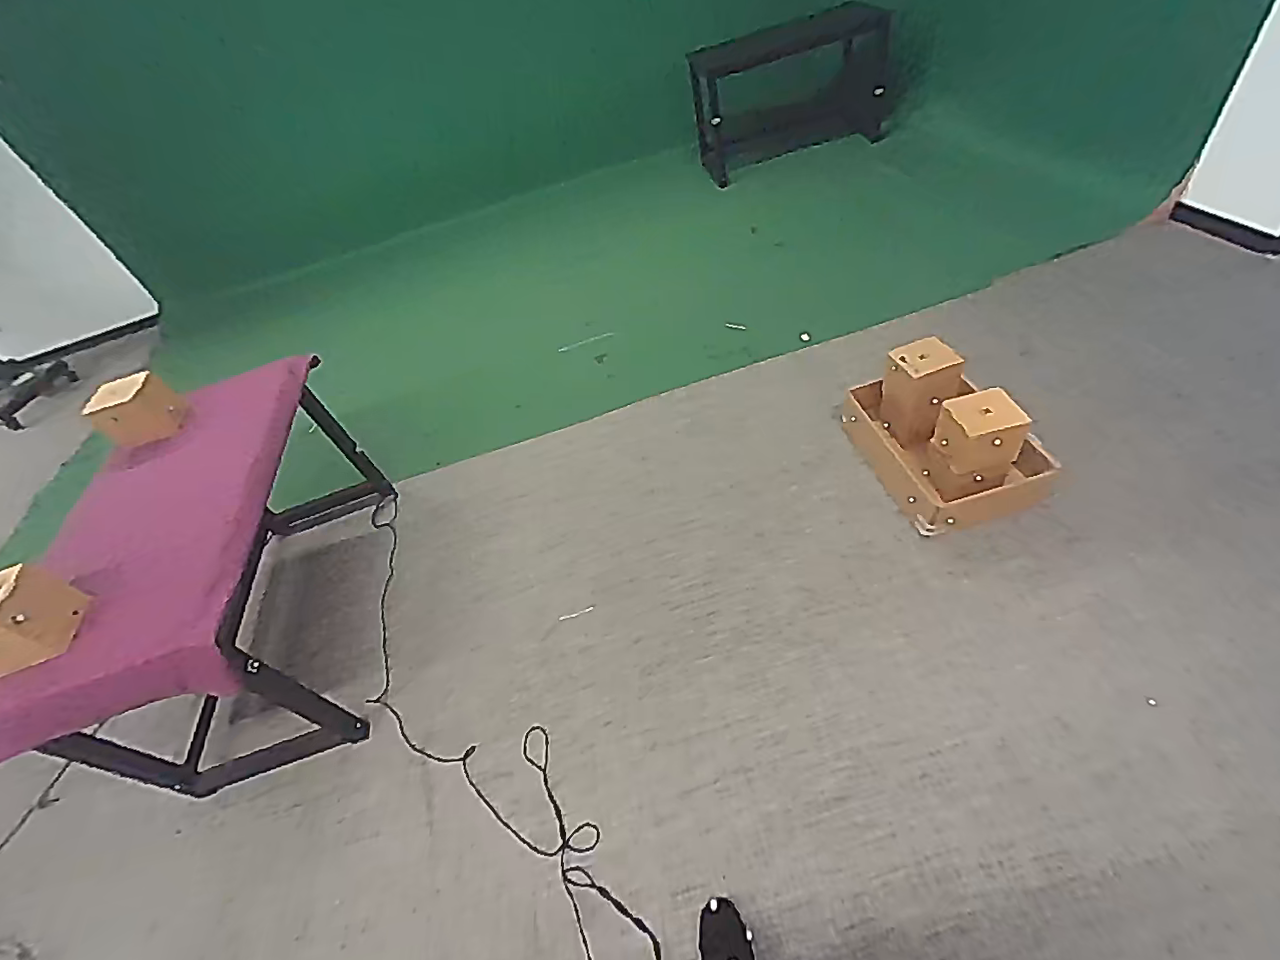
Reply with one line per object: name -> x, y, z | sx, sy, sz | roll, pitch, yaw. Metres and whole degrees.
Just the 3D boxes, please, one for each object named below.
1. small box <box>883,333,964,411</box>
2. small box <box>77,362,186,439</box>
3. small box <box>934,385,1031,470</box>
small box -> 0.961, -0.367, 1.850 | 0.179, 0.176, 0.168 | -18, 47, -1
small box -> -1.700, -0.261, 1.820 | 0.179, 0.176, 0.168 | -17, 50, 0
small box -> 1.032, -0.158, 1.647 | 0.179, 0.176, 0.168 | -15, 48, 5
